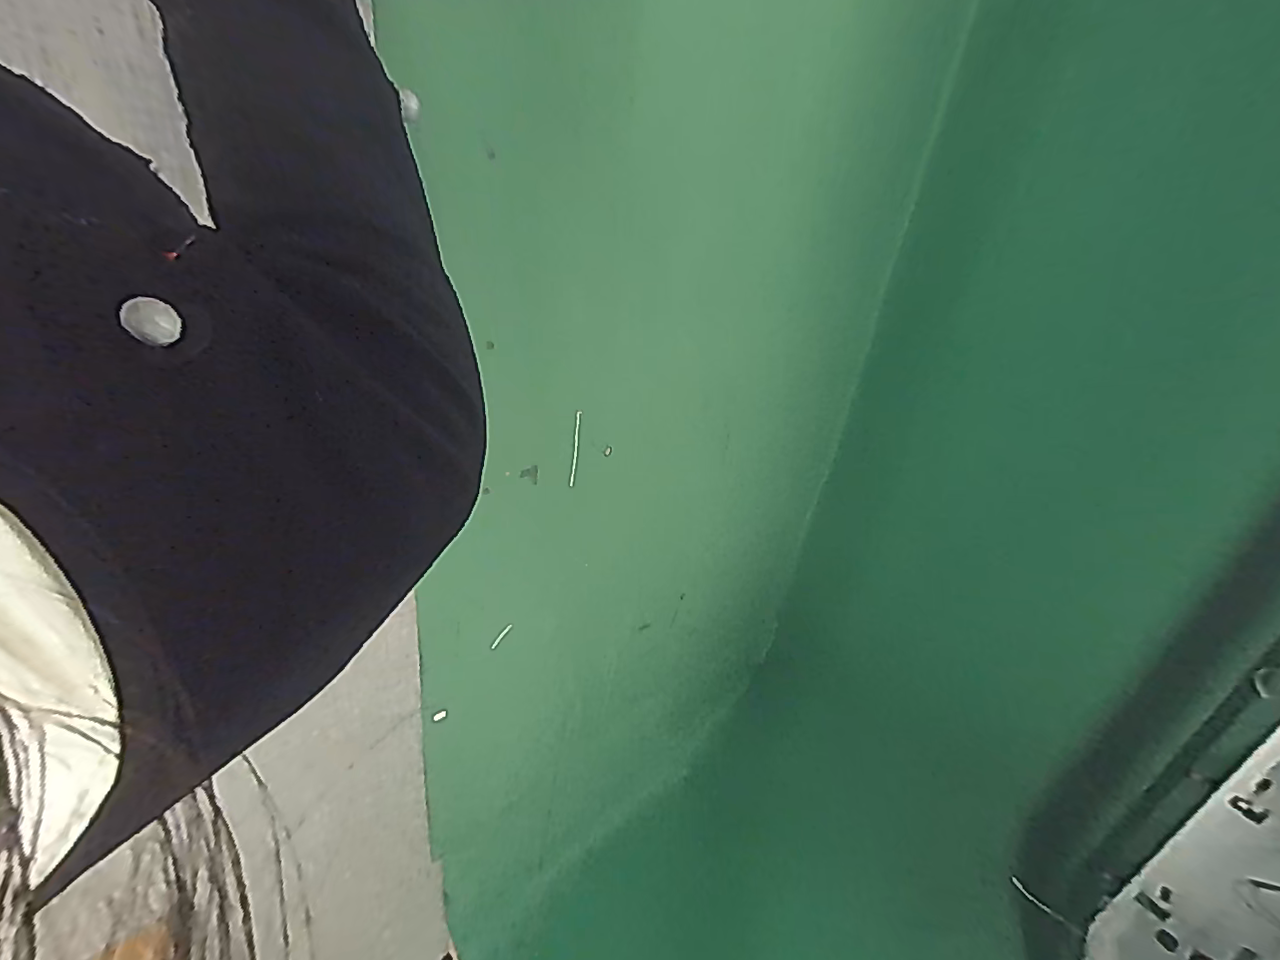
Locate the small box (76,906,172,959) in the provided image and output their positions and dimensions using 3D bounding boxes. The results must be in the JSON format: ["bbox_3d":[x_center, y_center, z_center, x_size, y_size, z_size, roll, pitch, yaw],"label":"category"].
[{"bbox_3d":[-1.470,1.389,1.543,0.179,0.176,0.168,-20,130,-44],"label":"small box"}]
